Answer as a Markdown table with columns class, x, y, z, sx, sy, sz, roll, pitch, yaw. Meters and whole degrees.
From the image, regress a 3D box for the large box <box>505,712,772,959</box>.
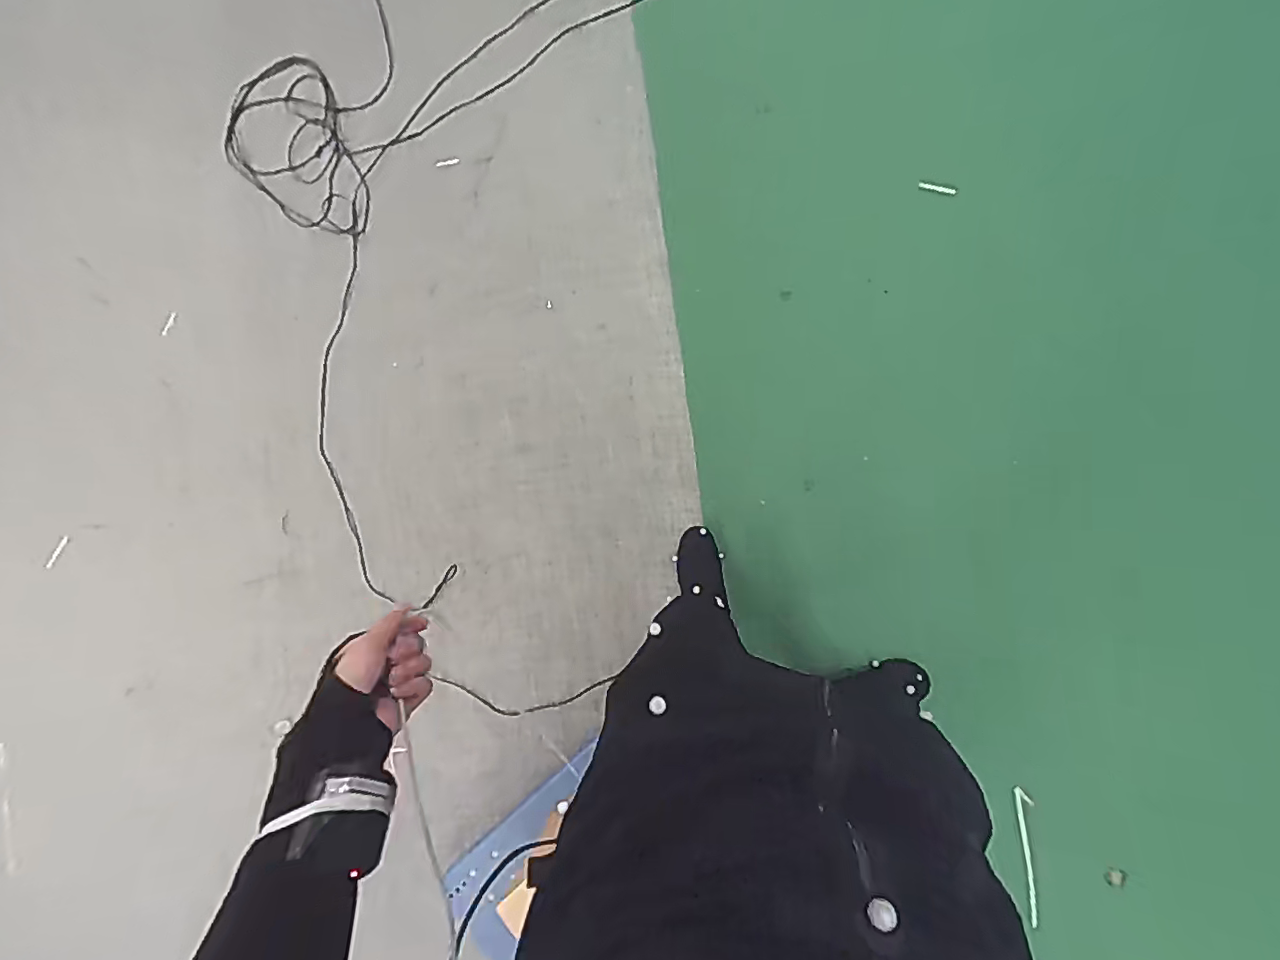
| class | x | y | z | sx | sy | sz | roll | pitch | yaw |
| --- | --- | --- | --- | --- | --- | --- | --- | --- | --- |
| large box | 0.016 | 0.771 | 1.107 | 0.408 | 0.320 | 0.320 | -45 | 80 | 7 |
